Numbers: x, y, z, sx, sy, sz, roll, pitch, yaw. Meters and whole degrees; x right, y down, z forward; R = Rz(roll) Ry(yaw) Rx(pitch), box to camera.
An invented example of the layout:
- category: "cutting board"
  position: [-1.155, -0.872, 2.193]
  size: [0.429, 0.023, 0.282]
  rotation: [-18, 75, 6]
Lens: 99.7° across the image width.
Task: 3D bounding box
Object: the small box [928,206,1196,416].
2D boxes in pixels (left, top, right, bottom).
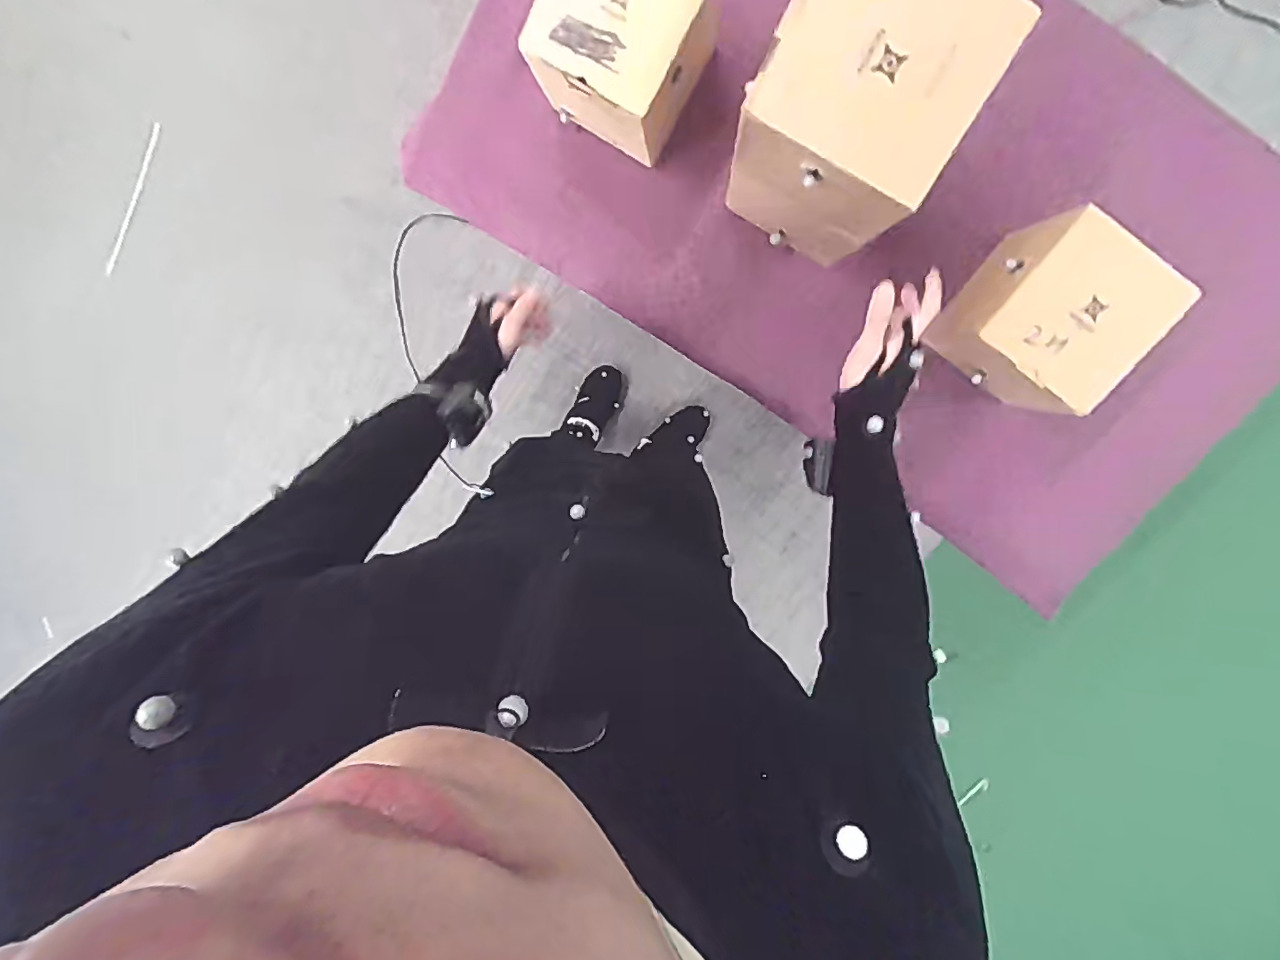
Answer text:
- category: "small box"
  position: [0.516, -0.207, 0.697]
  size: [0.168, 0.176, 0.179]
  rotation: [37, 104, -3]

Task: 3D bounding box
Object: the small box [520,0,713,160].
- category: "small box"
  position: [-0.017, -0.538, 0.667]
  size: [0.168, 0.176, 0.179]
  rotation: [31, 103, -3]

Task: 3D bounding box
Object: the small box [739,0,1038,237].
- category: "small box"
  position: [0.210, -0.360, 0.521]
  size: [0.179, 0.176, 0.168]
  rotation: [30, 106, -1]

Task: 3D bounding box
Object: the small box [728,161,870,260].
- category: "small box"
  position: [0.228, -0.397, 0.679]
  size: [0.179, 0.176, 0.168]
  rotation: [30, 104, -3]
